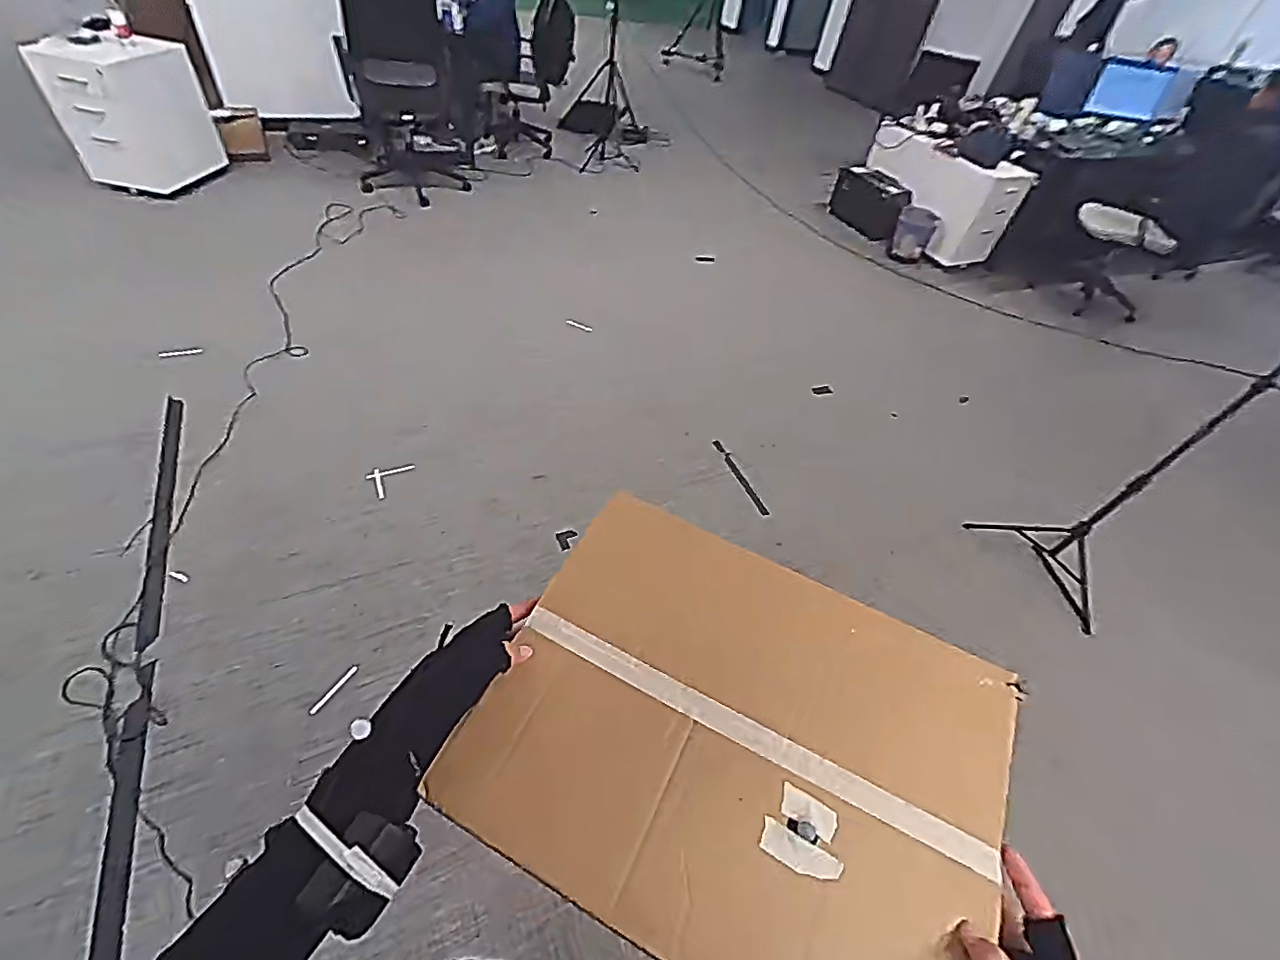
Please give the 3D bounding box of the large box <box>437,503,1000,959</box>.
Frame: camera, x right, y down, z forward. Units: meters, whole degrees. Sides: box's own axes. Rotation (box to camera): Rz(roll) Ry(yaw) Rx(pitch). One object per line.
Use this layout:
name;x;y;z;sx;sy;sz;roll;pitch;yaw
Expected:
large box;0.074;0.293;0.574;0.408;0.320;0.320;25;58;13
